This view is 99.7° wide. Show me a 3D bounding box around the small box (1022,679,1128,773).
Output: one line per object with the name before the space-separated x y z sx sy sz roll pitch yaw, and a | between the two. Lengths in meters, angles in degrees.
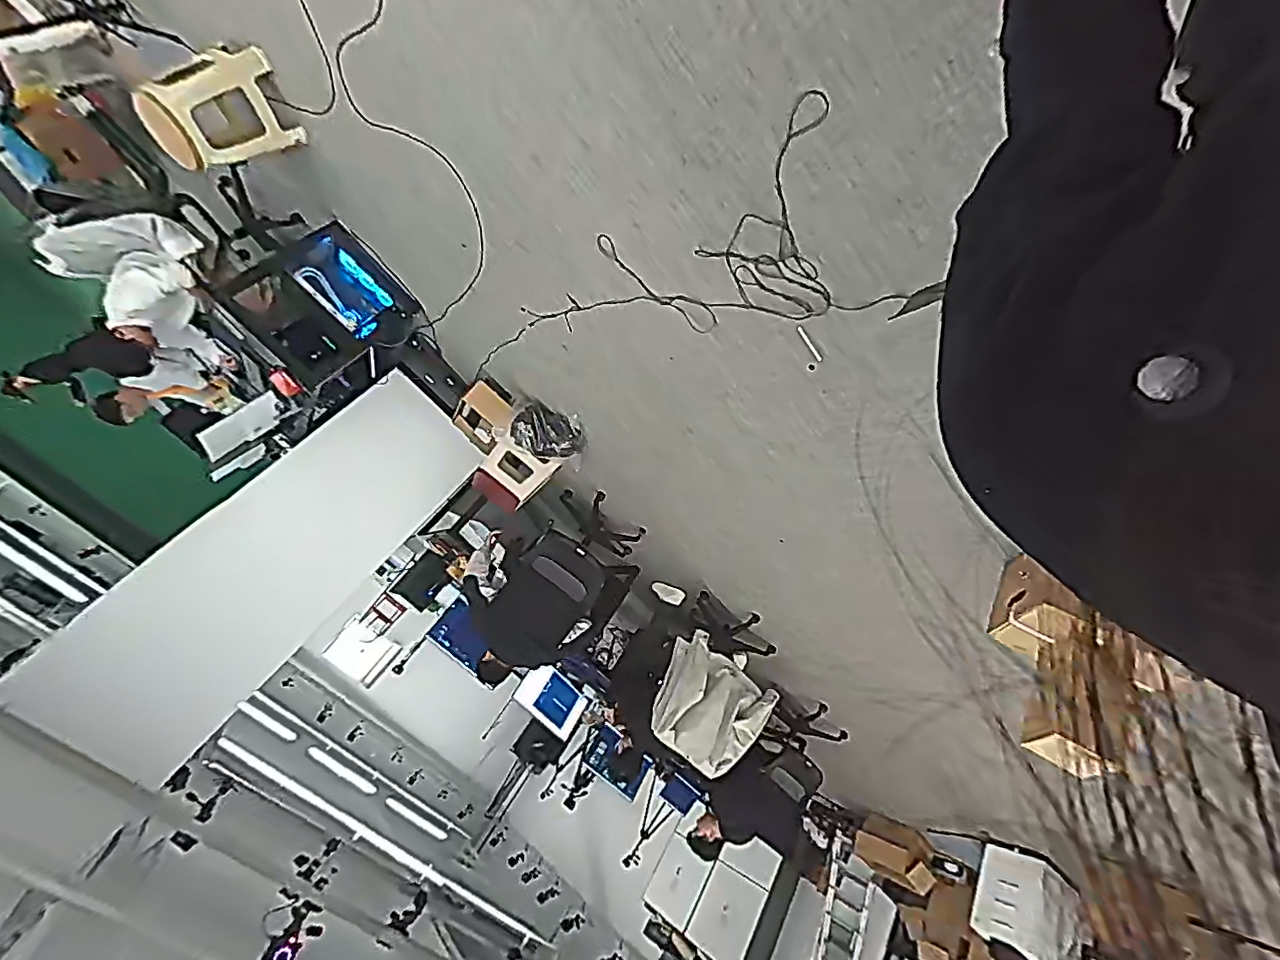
small box | 1.233 0.695 1.530 0.168 0.176 0.179 27 150 17

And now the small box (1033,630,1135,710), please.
small box | 1.321 0.578 1.606 0.168 0.176 0.179 27 149 18
